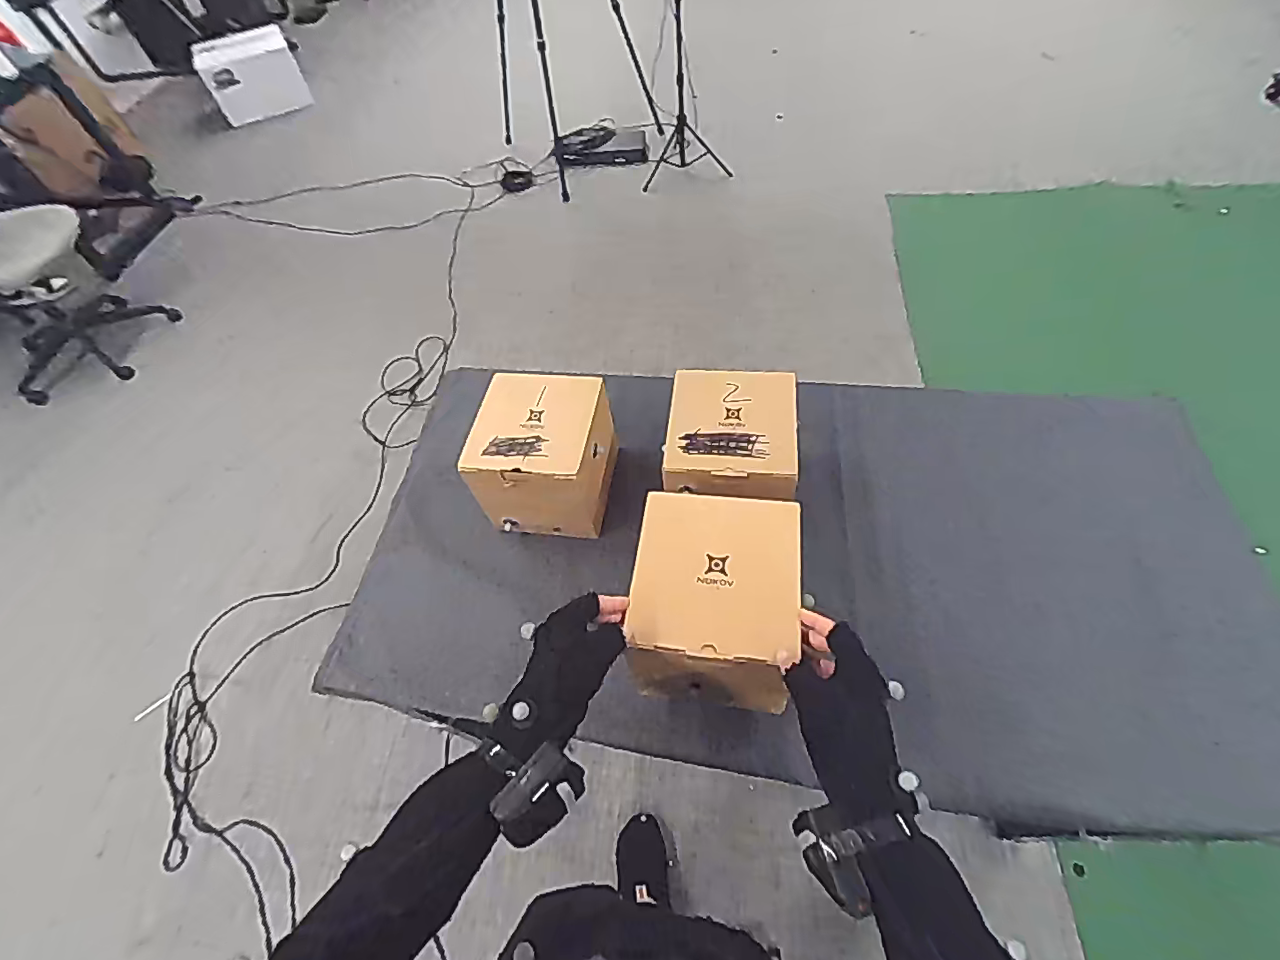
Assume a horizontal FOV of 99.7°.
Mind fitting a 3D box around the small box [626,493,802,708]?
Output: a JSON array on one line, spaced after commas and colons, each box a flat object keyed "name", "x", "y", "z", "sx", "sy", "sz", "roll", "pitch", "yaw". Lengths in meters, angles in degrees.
[{"name": "small box", "x": 0.086, "y": 0.137, "z": 0.611, "sx": 0.168, "sy": 0.176, "sz": 0.179, "roll": 4, "pitch": 55, "yaw": 10}]

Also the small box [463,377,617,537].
[{"name": "small box", "x": -0.134, "y": -0.031, "z": 0.807, "sx": 0.168, "sy": 0.176, "sz": 0.179, "roll": 4, "pitch": 56, "yaw": 9}]
